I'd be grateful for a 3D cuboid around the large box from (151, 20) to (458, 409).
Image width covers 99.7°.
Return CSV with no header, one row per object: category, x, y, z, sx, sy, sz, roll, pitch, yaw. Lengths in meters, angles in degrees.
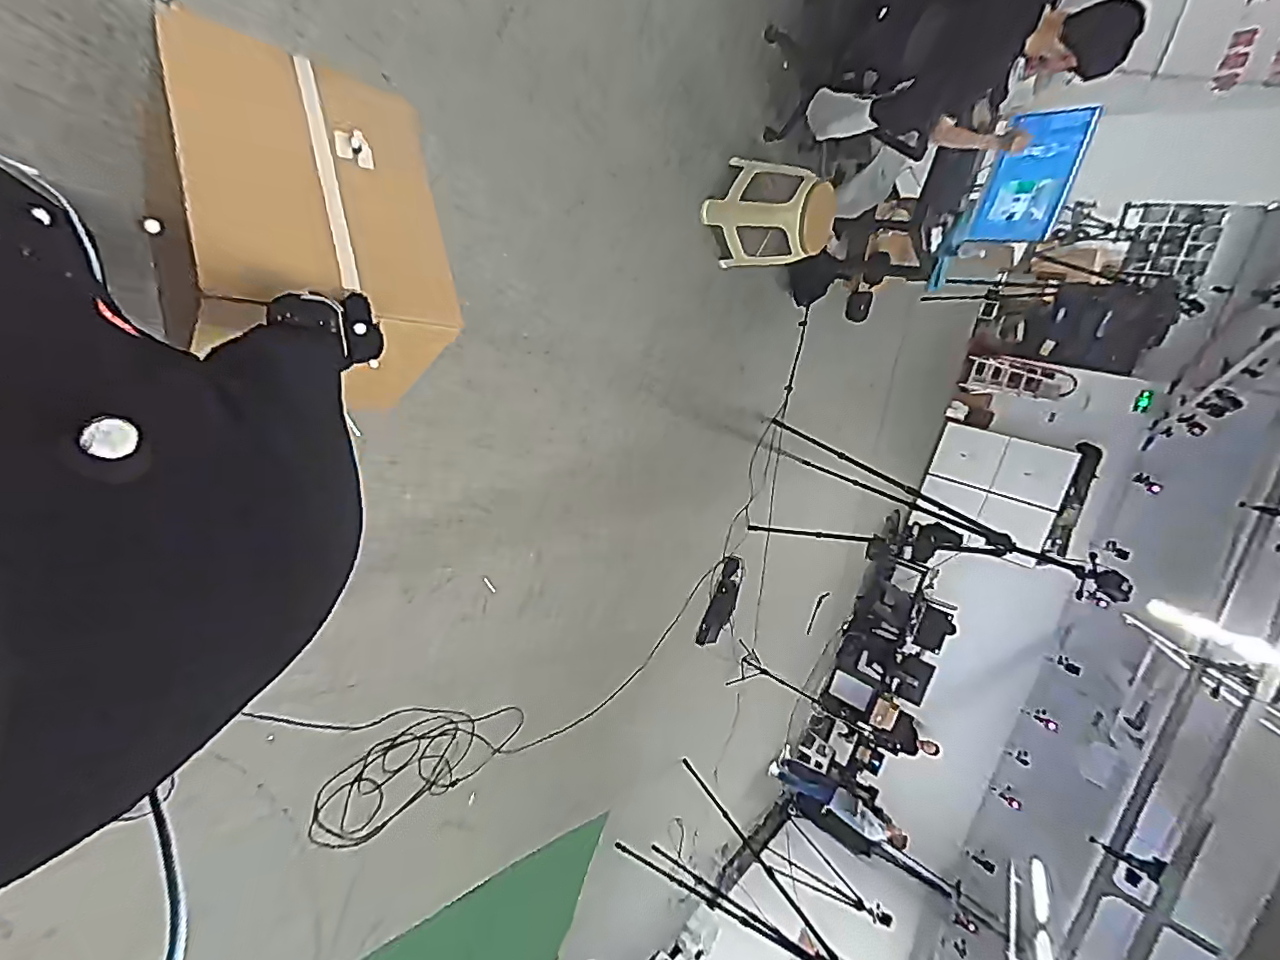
large box,-0.535,-0.354,0.850,0.320,0.320,0.408,-7,78,-46
